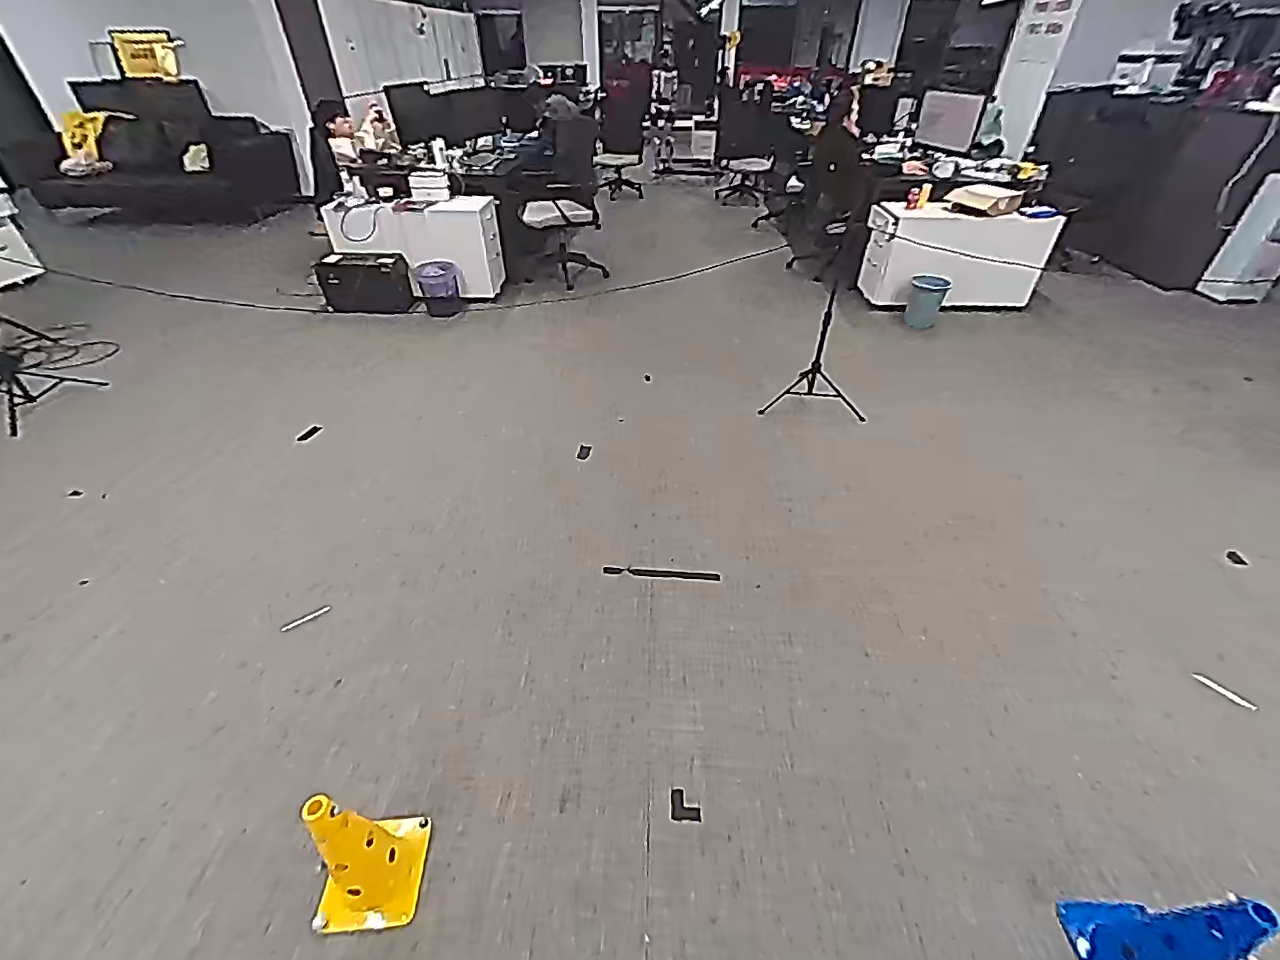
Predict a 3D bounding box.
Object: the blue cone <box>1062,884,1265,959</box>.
[{"bbox_3d":[0.961,0.810,0.954,0.193,0.380,0.192,2,37,2],"label":"blue cone"}]
